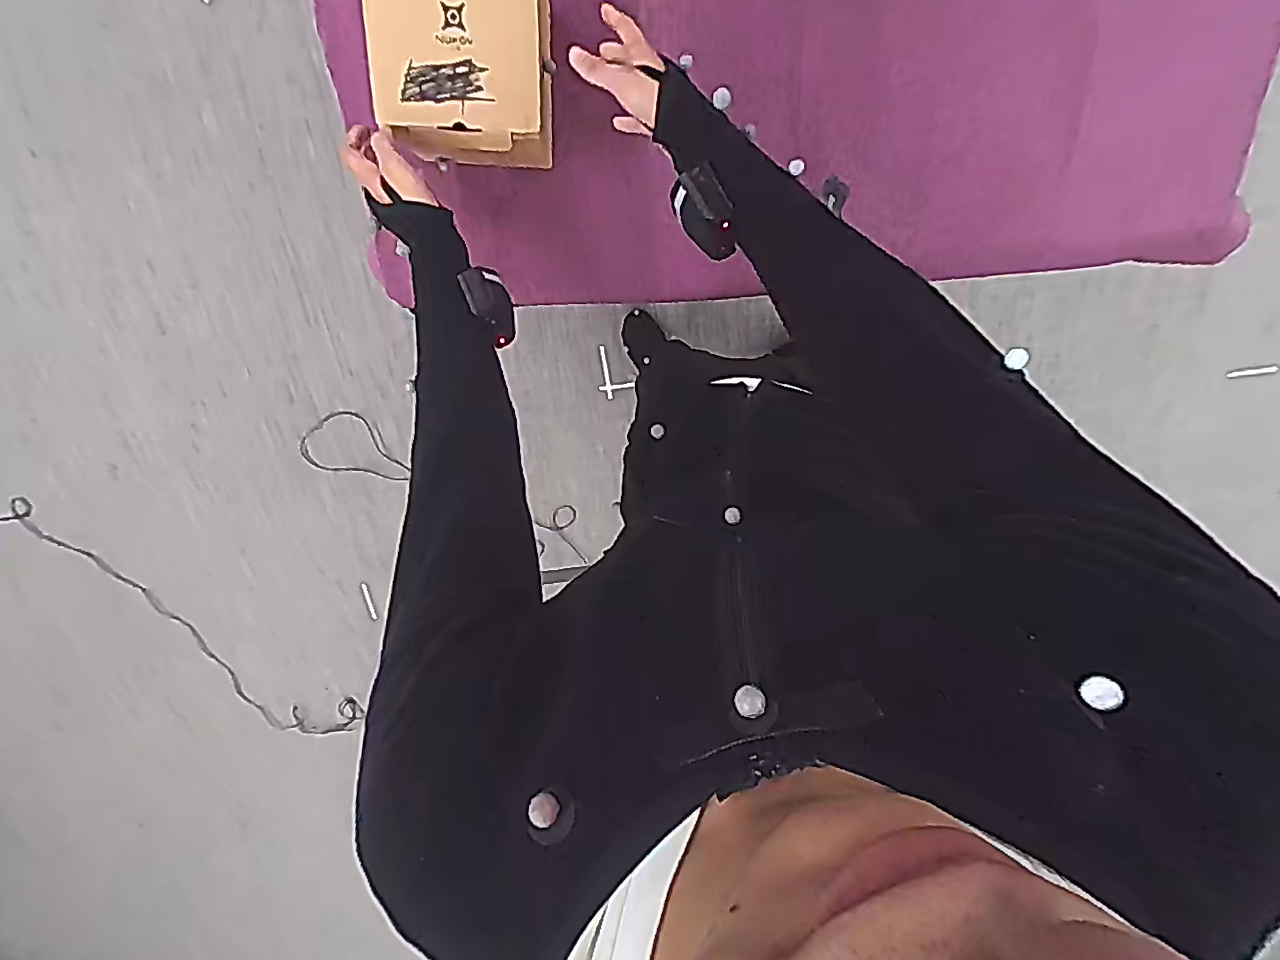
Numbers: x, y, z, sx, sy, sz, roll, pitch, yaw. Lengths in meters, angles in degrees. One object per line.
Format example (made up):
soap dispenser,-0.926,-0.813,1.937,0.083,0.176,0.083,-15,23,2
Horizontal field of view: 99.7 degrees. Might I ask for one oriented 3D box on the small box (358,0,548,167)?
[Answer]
small box,-0.191,-0.460,0.596,0.168,0.176,0.179,0,109,-5
